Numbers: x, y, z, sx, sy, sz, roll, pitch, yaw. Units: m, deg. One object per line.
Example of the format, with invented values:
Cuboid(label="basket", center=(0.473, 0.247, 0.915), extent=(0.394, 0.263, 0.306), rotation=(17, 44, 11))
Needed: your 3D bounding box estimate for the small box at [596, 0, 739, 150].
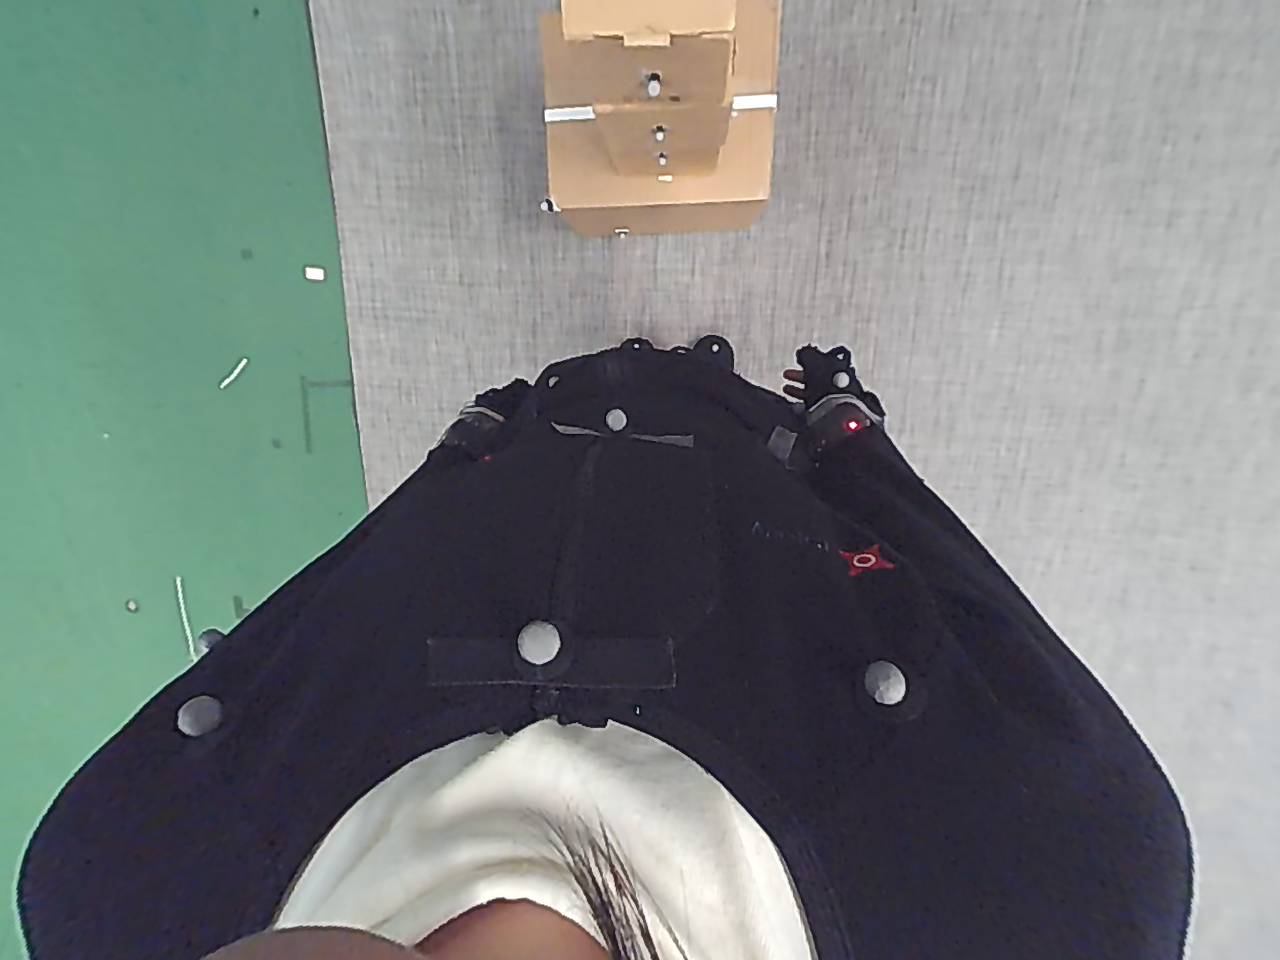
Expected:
Cuboid(label="small box", center=(0.035, -0.559, 0.719), extent=(0.179, 0.176, 0.168), rotation=(-2, 107, 6))

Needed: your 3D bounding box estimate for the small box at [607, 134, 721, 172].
Cuboid(label="small box", center=(0.044, -0.610, 0.874), extent=(0.179, 0.176, 0.168), rotation=(2, 107, 4))

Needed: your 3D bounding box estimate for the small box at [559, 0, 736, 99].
Cuboid(label="small box", center=(0.017, -0.522, 0.560), extent=(0.168, 0.176, 0.179), rotation=(5, 108, 5))
